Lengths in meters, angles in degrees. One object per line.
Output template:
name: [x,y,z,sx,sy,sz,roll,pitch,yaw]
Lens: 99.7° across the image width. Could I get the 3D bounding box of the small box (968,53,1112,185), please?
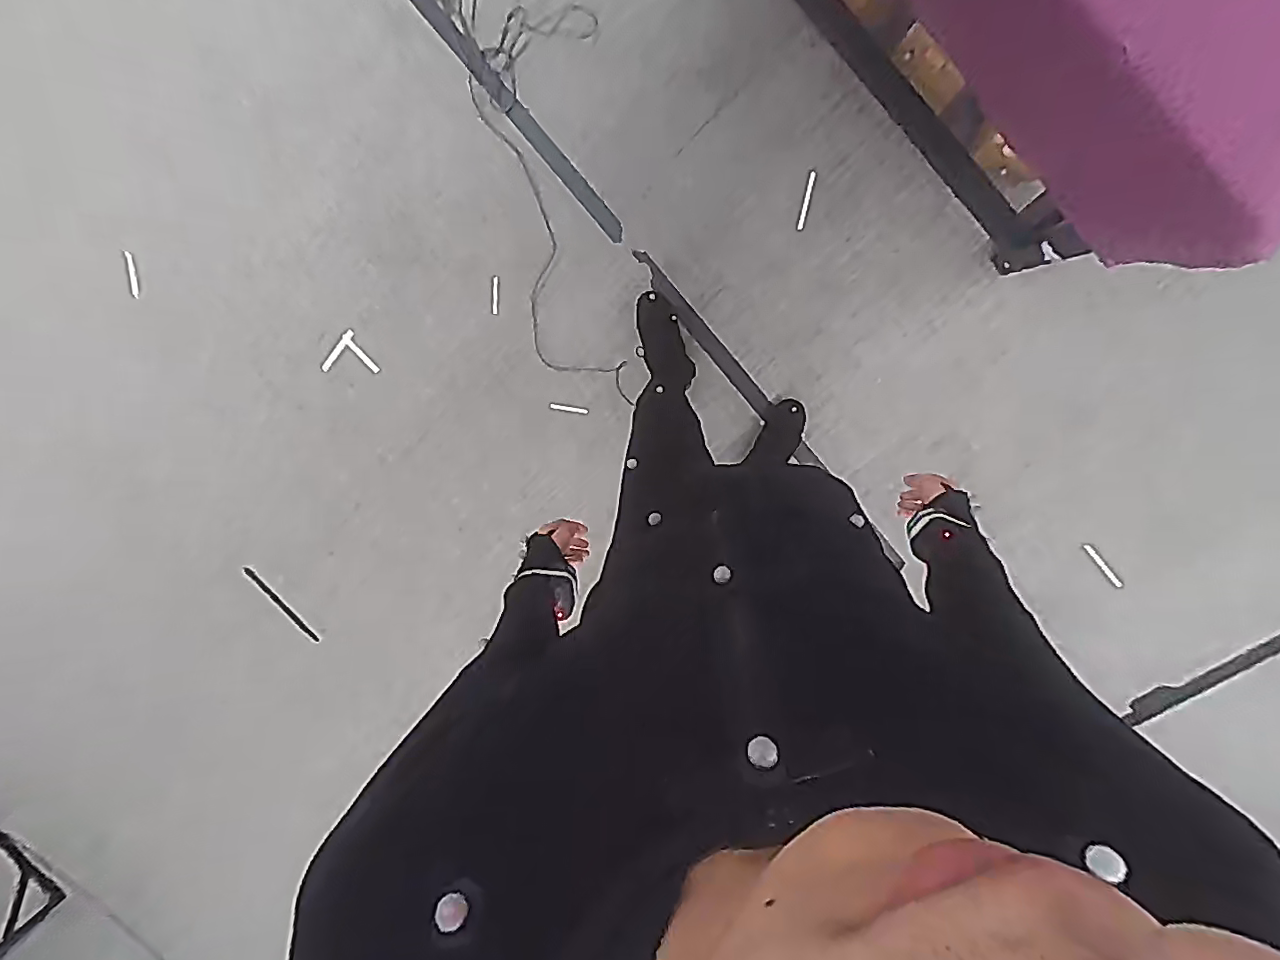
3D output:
small box: [0.871,-0.791,1.202,0.168,0.176,0.179,21,107,6]
